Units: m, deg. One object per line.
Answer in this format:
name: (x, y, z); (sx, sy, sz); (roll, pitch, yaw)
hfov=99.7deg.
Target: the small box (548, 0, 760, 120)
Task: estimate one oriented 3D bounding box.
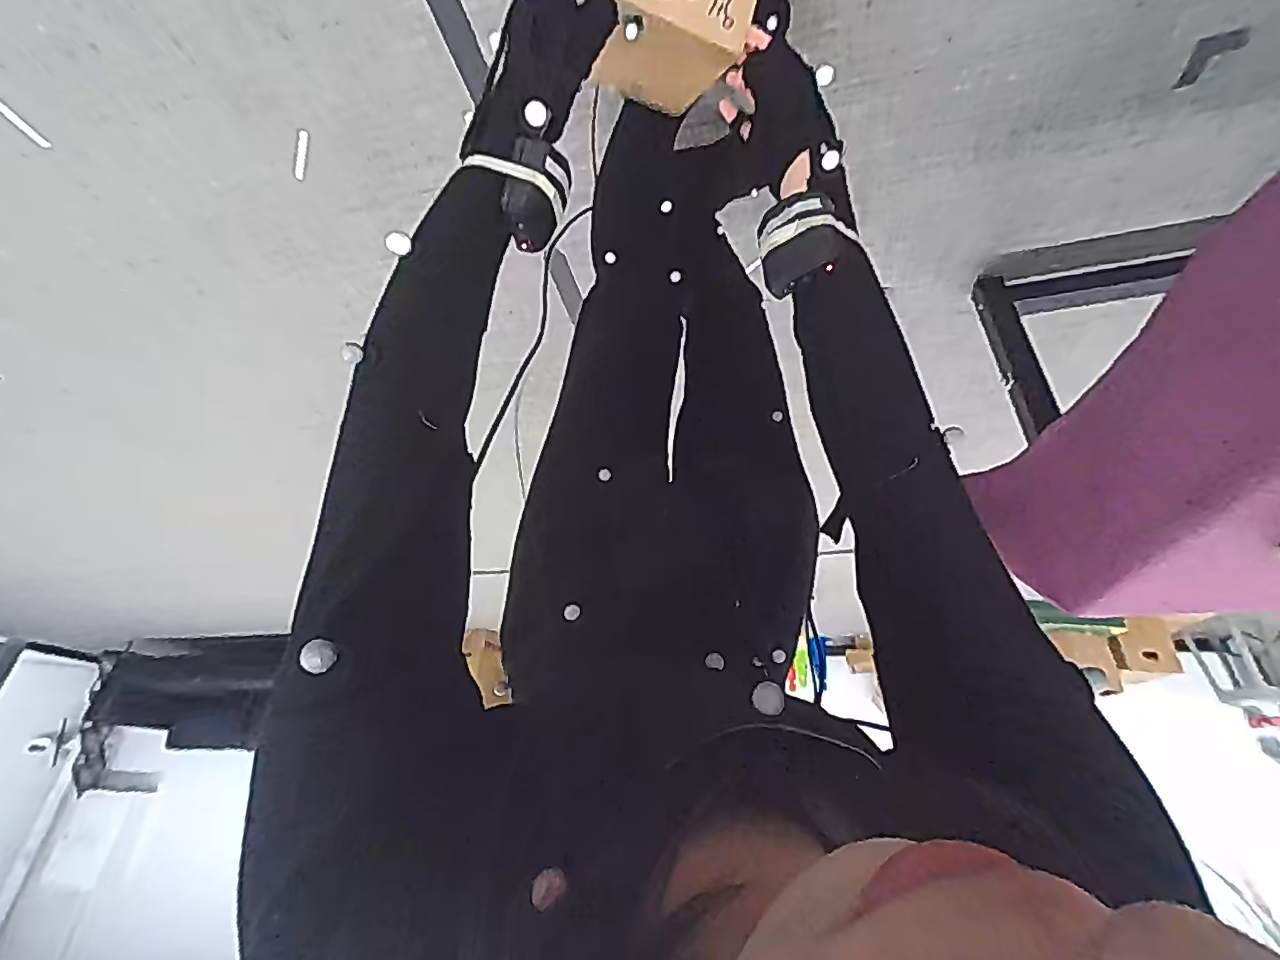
small box: (0.015, -0.493, 0.513); (0.168, 0.179, 0.176); (10, -171, -19)
